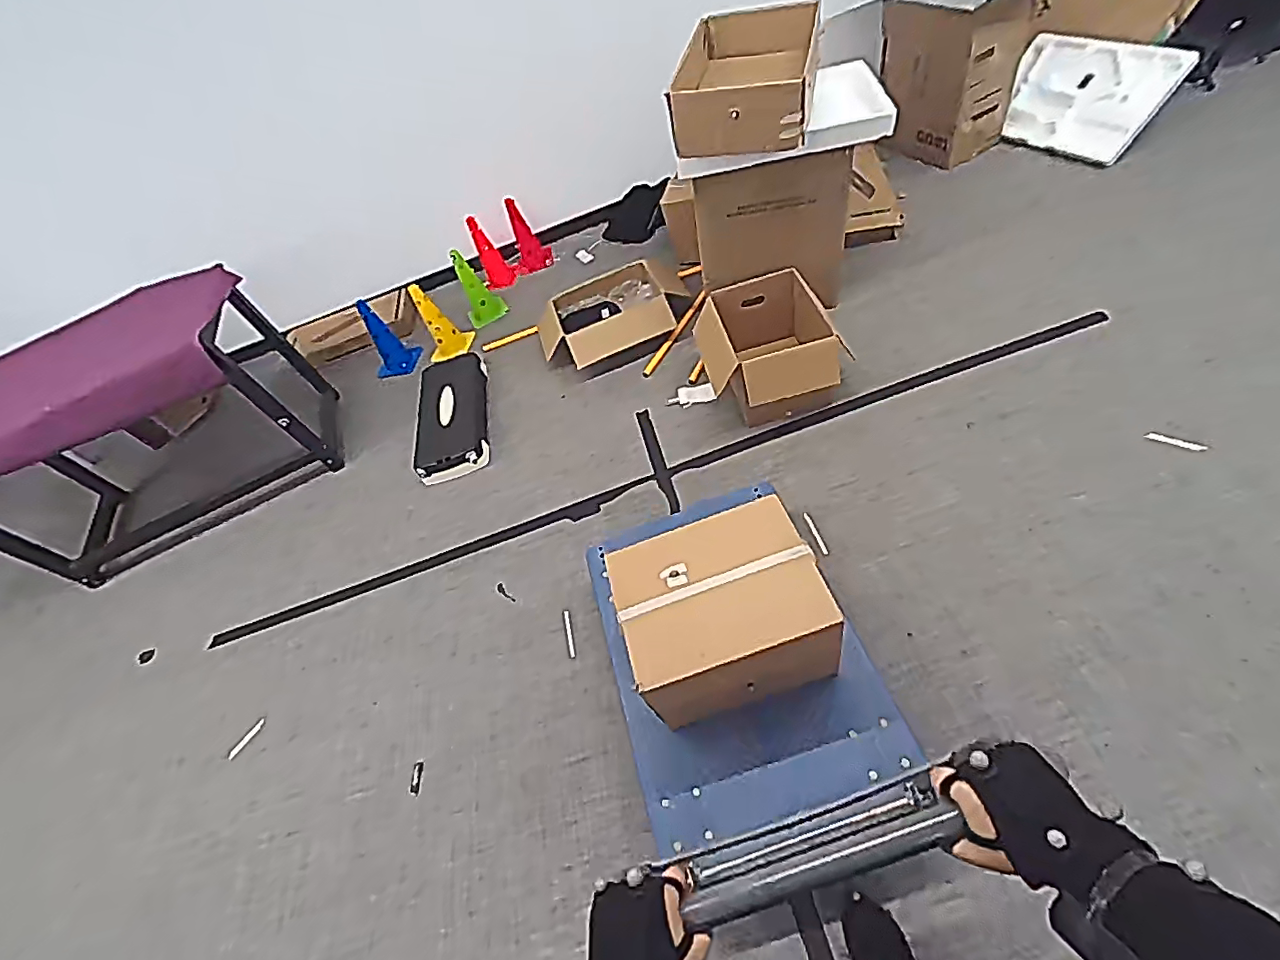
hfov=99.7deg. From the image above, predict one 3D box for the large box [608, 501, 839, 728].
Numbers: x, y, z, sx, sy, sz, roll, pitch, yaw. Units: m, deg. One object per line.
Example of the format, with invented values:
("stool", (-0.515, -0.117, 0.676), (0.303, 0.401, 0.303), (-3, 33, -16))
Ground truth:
("large box", (0.188, 0.312, 1.223), (0.408, 0.320, 0.320), (-21, 50, 2))
